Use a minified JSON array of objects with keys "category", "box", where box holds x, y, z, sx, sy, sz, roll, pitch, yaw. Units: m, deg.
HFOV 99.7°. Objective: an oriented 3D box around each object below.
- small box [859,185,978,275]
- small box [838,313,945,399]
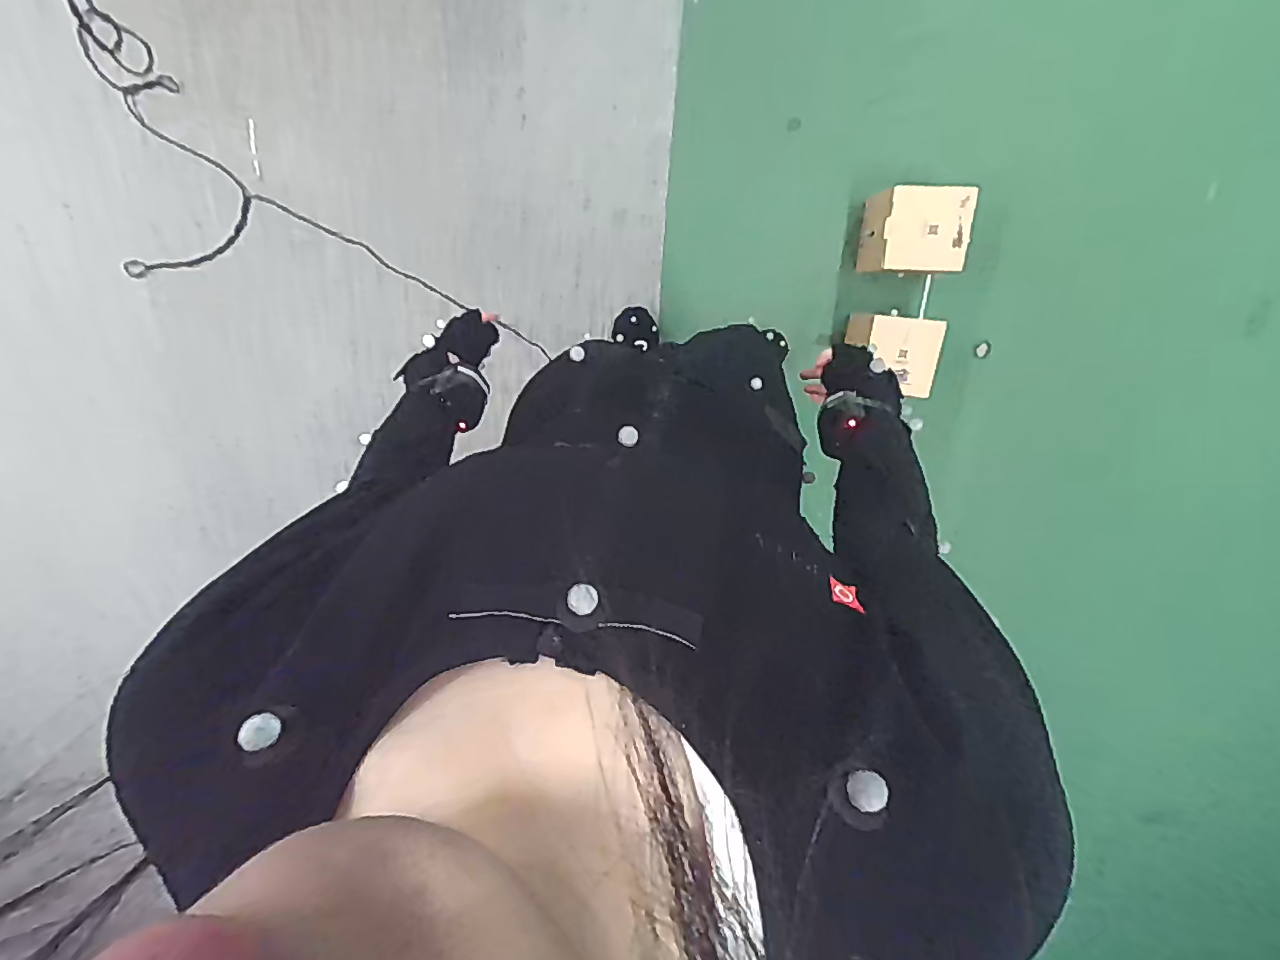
[{"category":"small box","box":[0.614,-0.556,1.220,0.179,0.176,0.168,3,109,2]},{"category":"small box","box":[0.596,-0.304,1.308,0.168,0.176,0.179,6,109,0]}]
